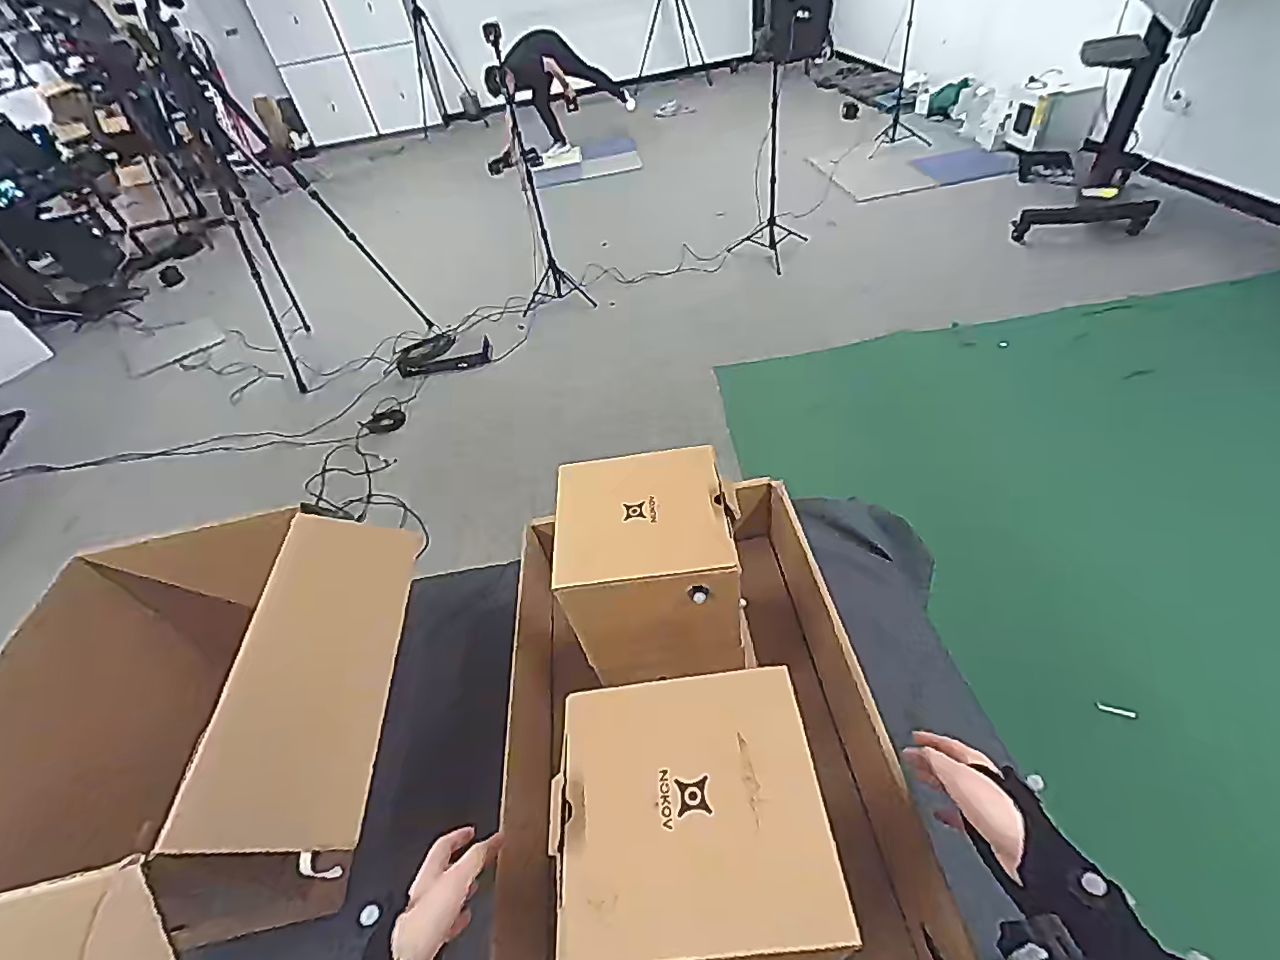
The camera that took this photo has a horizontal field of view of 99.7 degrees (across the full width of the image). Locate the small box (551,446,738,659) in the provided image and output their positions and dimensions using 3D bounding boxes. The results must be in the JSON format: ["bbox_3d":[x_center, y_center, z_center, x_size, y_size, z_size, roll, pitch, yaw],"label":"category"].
[{"bbox_3d":[0.010,0.086,0.607,0.179,0.176,0.168,-7,47,3],"label":"small box"}]

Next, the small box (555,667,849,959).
[{"bbox_3d":[0.043,0.270,0.424,0.179,0.176,0.168,-9,46,3],"label":"small box"}]
